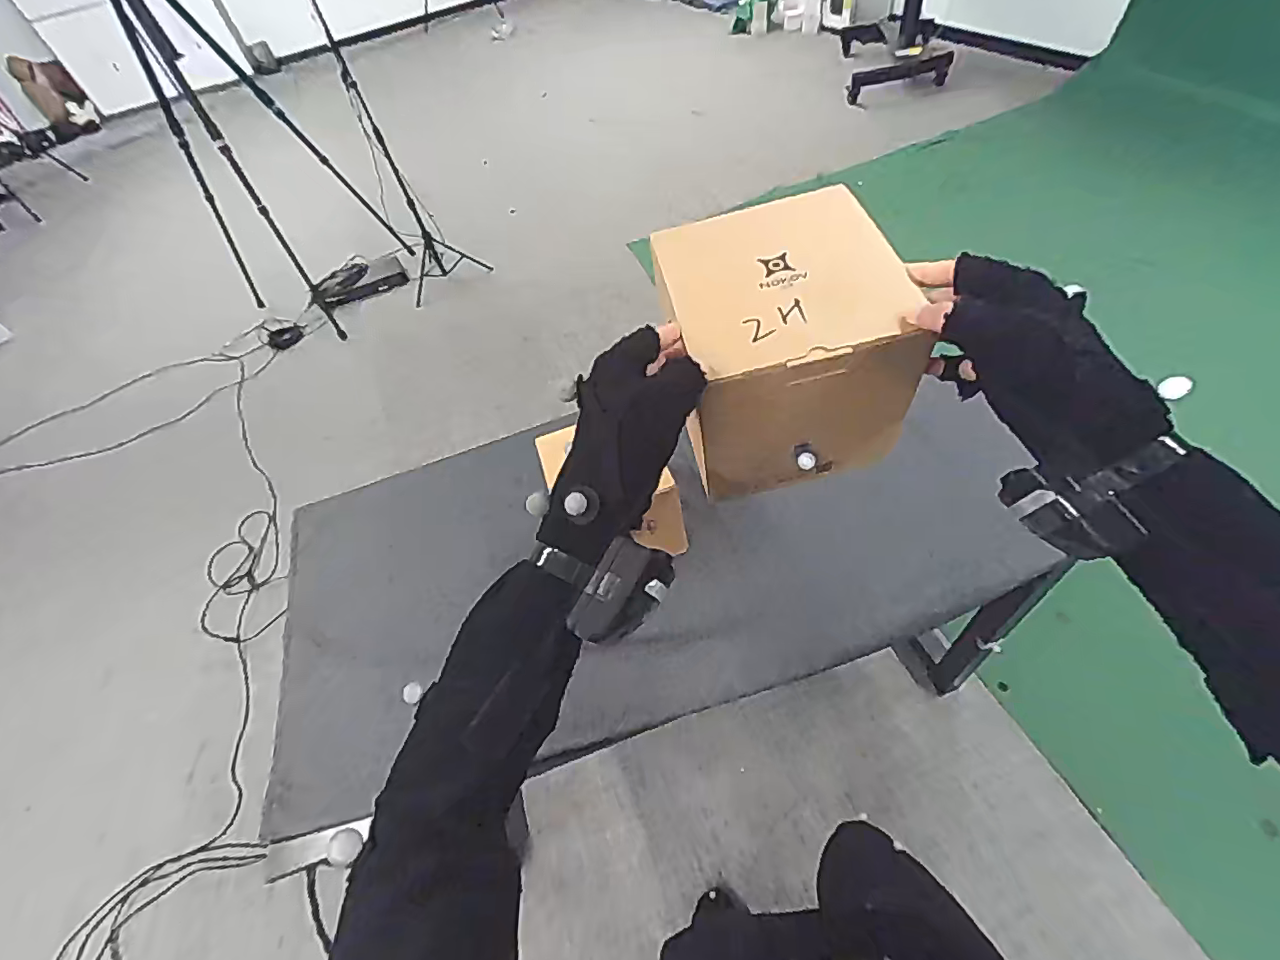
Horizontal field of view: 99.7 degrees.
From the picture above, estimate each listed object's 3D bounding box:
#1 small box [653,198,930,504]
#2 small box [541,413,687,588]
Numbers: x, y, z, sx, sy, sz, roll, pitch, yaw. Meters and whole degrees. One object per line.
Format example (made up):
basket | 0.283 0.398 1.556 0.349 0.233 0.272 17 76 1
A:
small box | 0.114 -0.105 0.476 0.168 0.176 0.179 -14 57 3
small box | -0.037 0.034 0.827 0.168 0.176 0.179 -20 51 -4
